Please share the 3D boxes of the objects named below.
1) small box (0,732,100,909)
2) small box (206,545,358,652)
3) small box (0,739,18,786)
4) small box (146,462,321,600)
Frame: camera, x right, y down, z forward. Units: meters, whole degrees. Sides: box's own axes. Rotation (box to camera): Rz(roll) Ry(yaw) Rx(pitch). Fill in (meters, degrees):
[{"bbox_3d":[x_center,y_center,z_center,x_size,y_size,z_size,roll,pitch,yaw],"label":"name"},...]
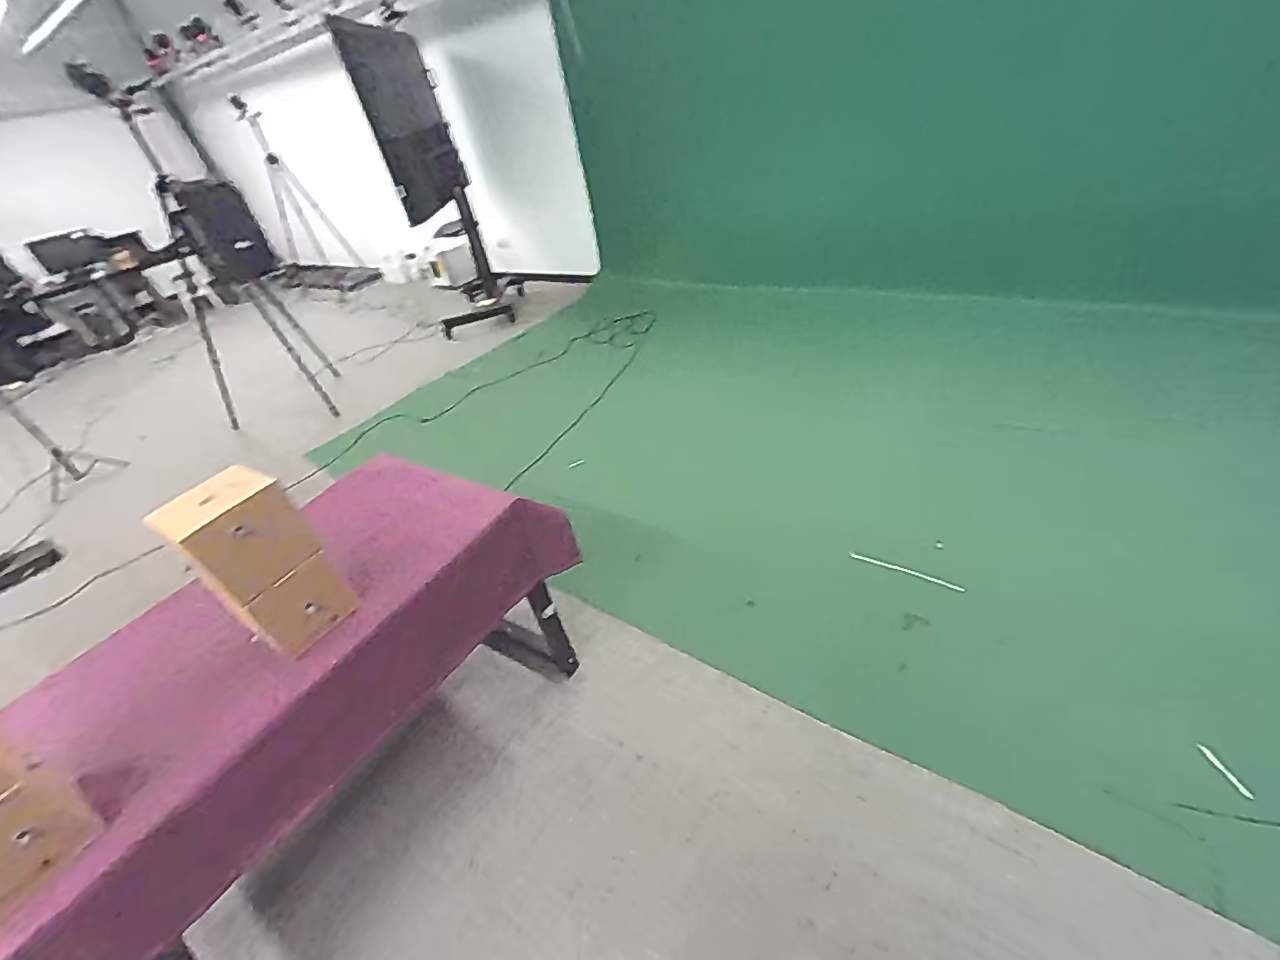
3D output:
[{"bbox_3d":[-0.970,0.513,0.800,0.179,0.176,0.168,13,42,31],"label":"small box"},{"bbox_3d":[-0.725,0.225,1.112,0.179,0.176,0.168,15,44,31],"label":"small box"},{"bbox_3d":[-1.000,0.387,0.702,0.168,0.176,0.179,12,41,29],"label":"small box"},{"bbox_3d":[-0.750,0.094,1.014,0.168,0.176,0.179,14,44,31],"label":"small box"}]
